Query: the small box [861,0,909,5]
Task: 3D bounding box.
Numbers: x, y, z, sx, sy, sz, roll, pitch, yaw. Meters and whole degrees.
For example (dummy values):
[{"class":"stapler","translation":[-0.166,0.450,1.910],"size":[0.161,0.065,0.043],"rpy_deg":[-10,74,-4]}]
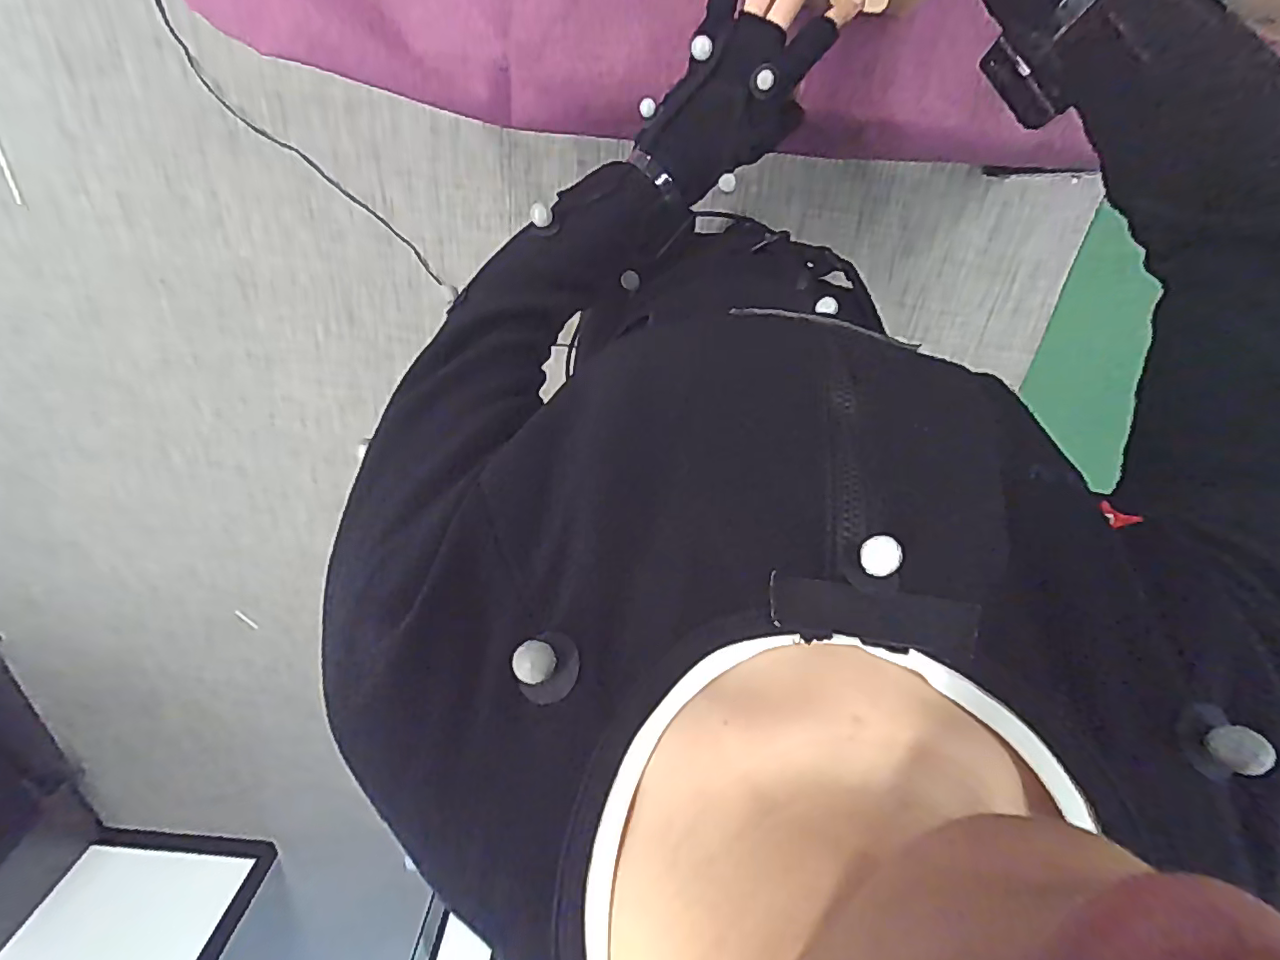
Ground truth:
[{"class":"small box","translation":[0.178,-0.488,0.398],"size":[0.168,0.176,0.179],"rpy_deg":[6,119,-1]}]
